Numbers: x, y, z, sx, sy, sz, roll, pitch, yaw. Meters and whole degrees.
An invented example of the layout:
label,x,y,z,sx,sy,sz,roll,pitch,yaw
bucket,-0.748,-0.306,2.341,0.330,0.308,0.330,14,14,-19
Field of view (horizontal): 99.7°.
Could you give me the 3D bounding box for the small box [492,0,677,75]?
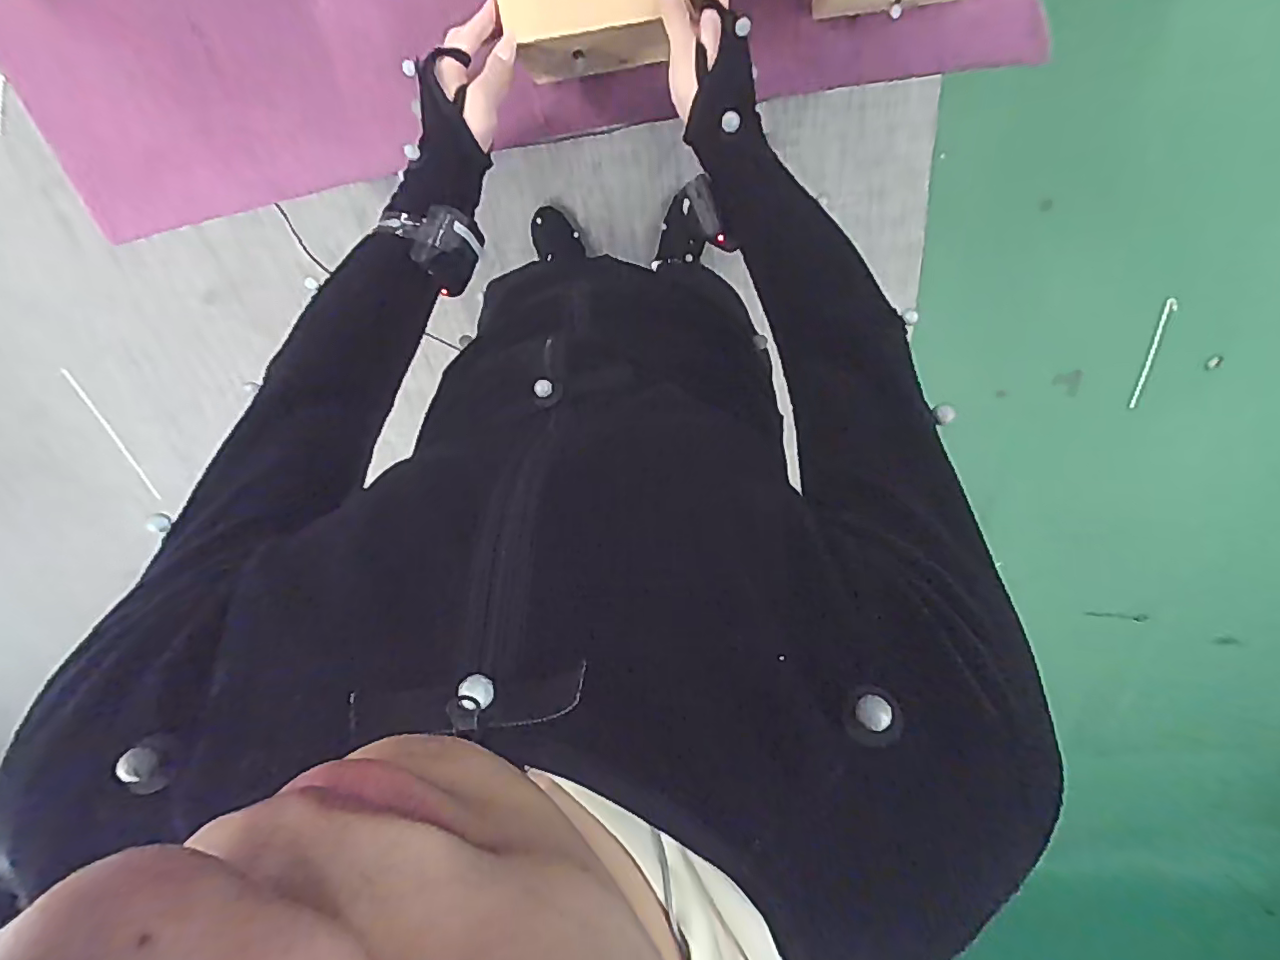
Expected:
label,x,y,z,sx,sy,sz,roll,pitch,yaw
small box,-0.056,-0.516,0.518,0.168,0.176,0.179,-8,115,4
